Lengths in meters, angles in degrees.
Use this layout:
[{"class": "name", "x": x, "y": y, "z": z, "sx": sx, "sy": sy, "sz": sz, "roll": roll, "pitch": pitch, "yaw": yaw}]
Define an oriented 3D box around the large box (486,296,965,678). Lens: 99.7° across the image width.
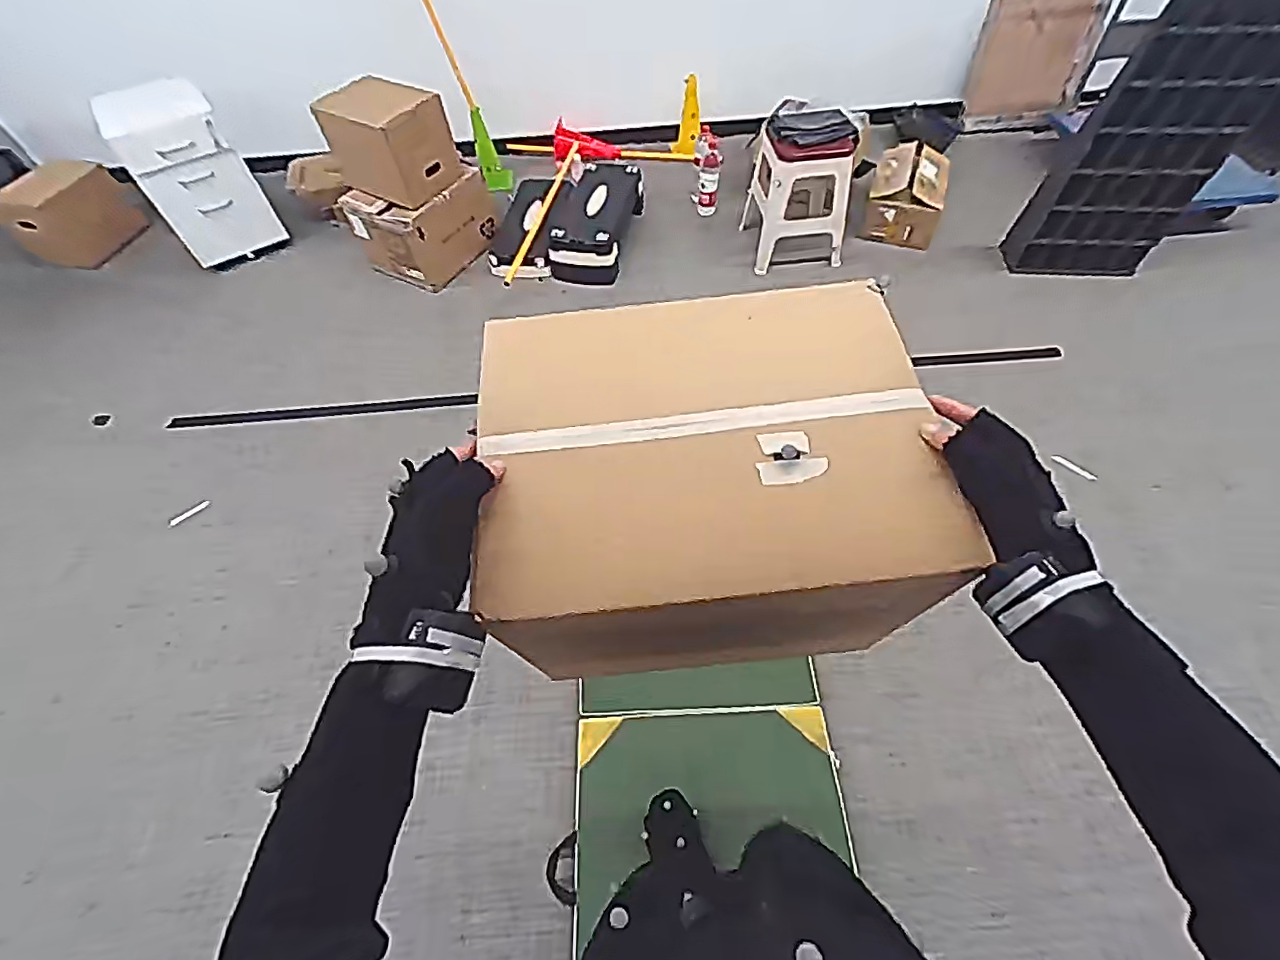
[{"class": "large box", "x": 0.059, "y": 0.028, "z": 0.637, "sx": 0.408, "sy": 0.320, "sz": 0.320, "roll": -6, "pitch": 62, "yaw": -1}]
